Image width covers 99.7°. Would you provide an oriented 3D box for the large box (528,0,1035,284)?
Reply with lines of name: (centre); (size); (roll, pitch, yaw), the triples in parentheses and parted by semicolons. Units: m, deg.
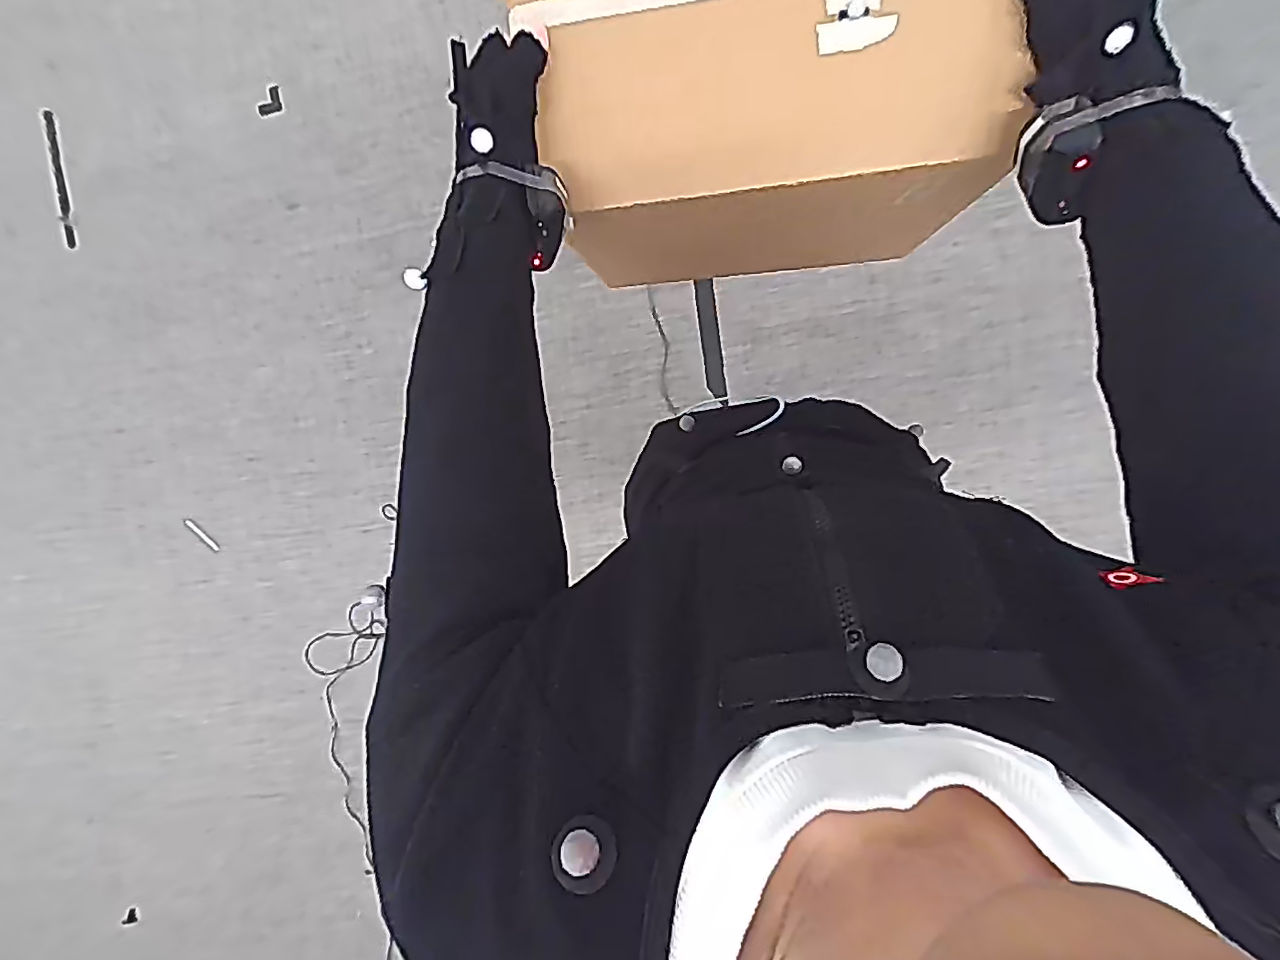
large box: (0.119, -0.422, 0.580); (0.408, 0.320, 0.320); (-4, 98, 8)
